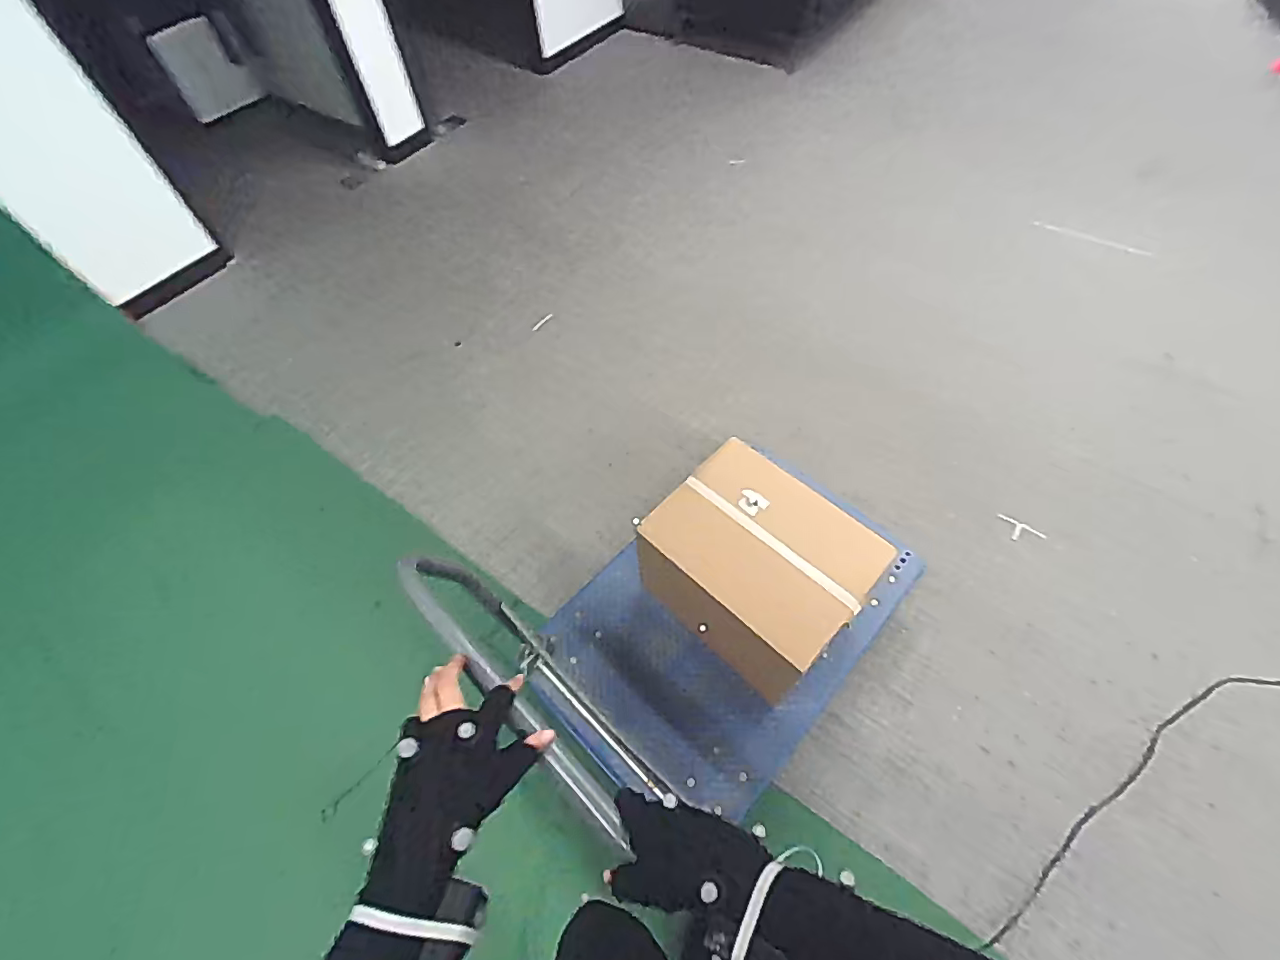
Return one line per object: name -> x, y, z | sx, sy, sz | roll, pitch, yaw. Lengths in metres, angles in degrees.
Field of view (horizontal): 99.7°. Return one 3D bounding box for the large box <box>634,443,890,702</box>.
large box -> 0.244, 0.201, 1.178 | 0.408, 0.320, 0.320 | 37, 65, 25
